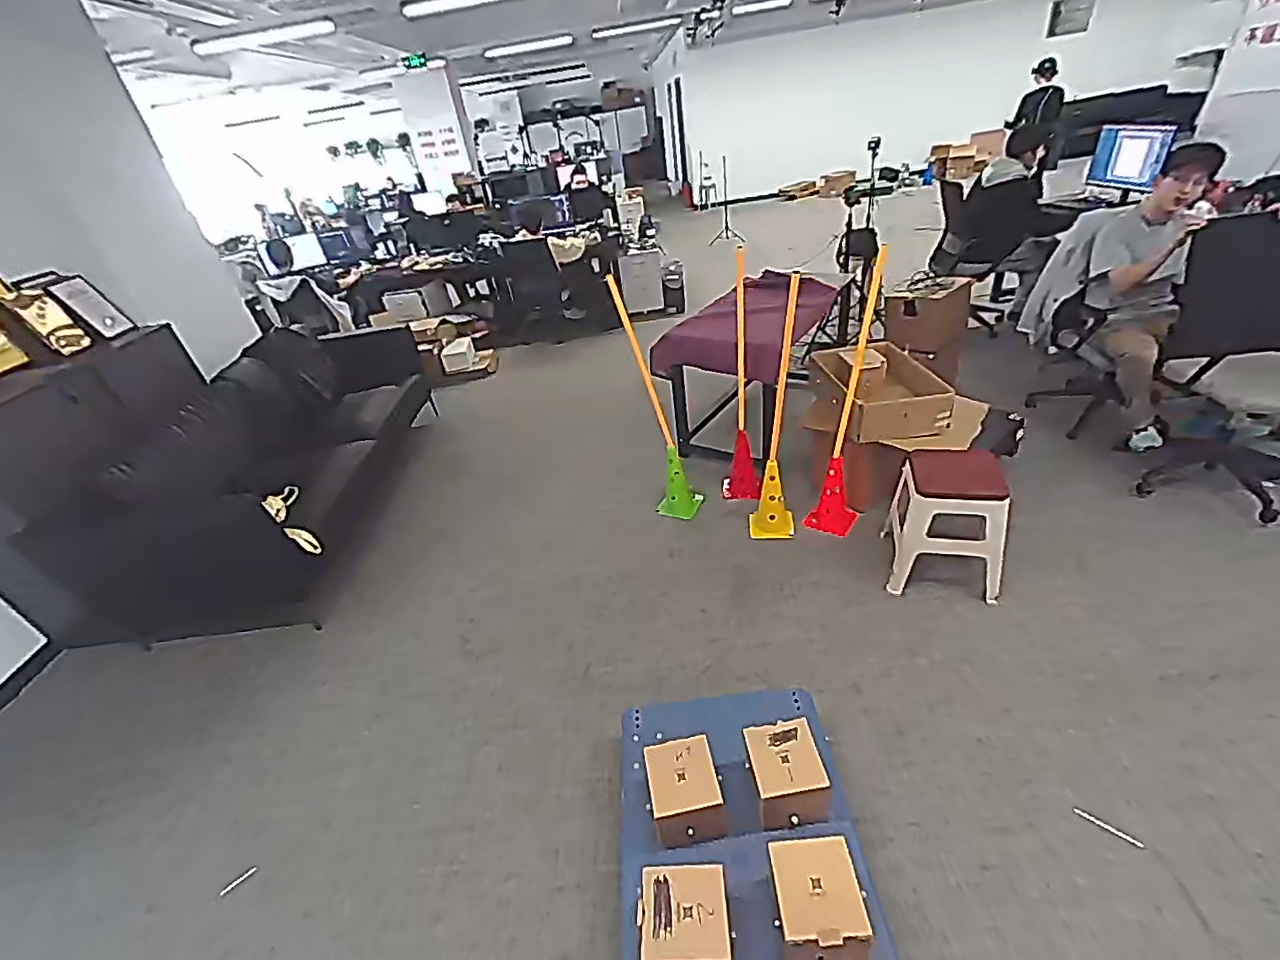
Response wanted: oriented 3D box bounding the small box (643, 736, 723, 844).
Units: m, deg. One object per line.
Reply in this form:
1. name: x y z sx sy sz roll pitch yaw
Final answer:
1. small box: 0.109 0.784 1.361 0.168 0.176 0.179 -11 34 -3

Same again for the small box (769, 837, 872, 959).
1. small box: 0.369 0.892 1.139 0.168 0.176 0.179 -8 34 3

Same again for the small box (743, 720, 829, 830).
1. small box: 0.361 0.741 1.362 0.168 0.176 0.179 -10 34 0
